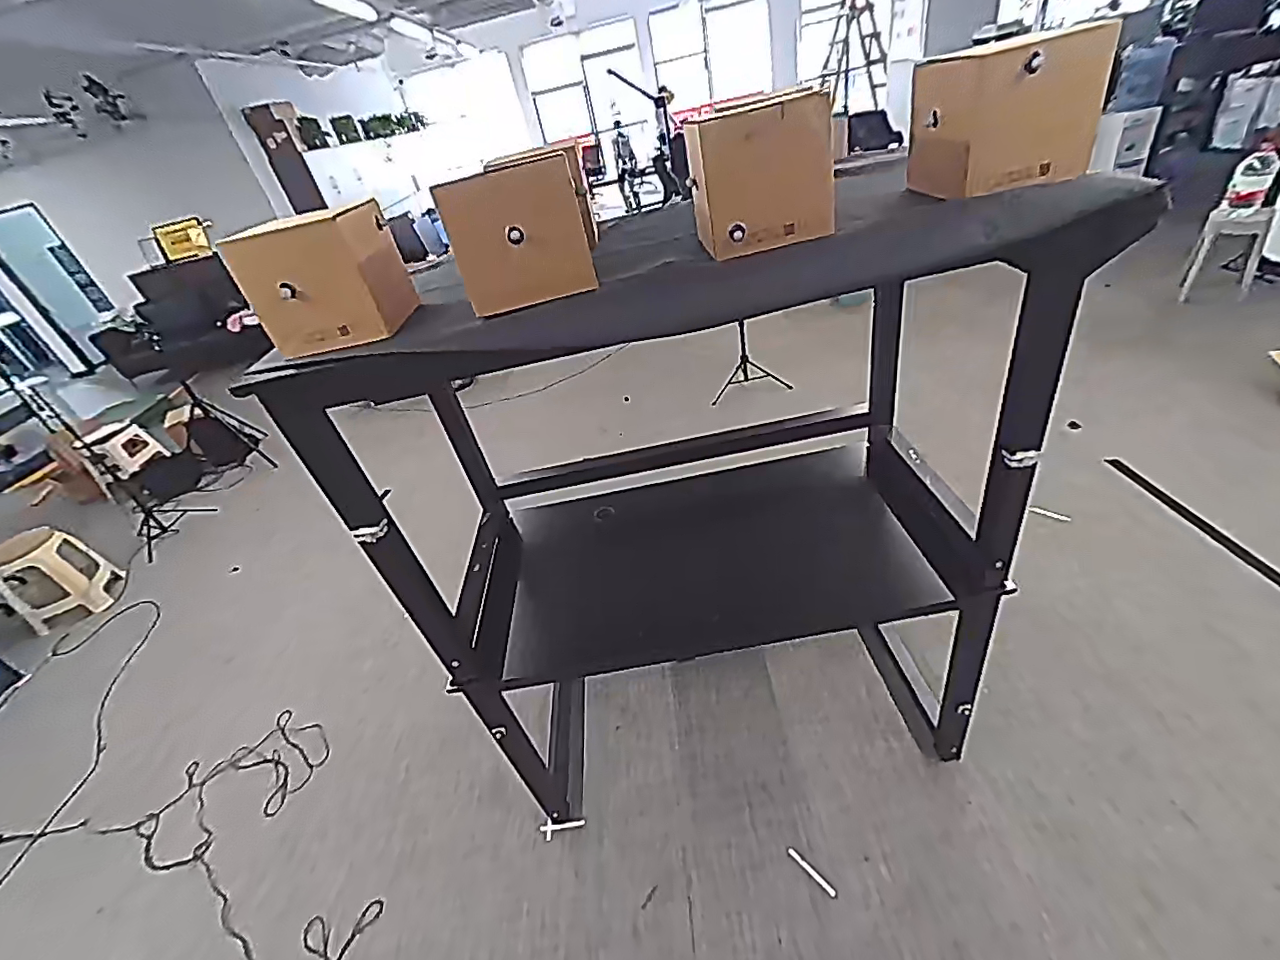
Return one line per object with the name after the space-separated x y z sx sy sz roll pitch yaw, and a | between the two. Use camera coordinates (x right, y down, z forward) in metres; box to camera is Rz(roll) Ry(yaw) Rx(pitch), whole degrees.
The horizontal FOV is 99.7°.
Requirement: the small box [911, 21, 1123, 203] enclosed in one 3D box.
0.496 -0.497 0.748 0.168 0.176 0.179 -12 34 4 | small box

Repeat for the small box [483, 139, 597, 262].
-0.179 -0.526 1.026 0.168 0.176 0.179 -11 35 3 | small box

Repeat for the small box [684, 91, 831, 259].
0.163 -0.425 0.764 0.168 0.176 0.179 -11 33 4 | small box

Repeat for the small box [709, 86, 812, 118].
0.224 -0.612 1.009 0.168 0.176 0.179 -7 35 8 | small box

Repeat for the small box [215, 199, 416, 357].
-0.459 -0.295 0.803 0.168 0.176 0.179 -12 35 2 | small box
